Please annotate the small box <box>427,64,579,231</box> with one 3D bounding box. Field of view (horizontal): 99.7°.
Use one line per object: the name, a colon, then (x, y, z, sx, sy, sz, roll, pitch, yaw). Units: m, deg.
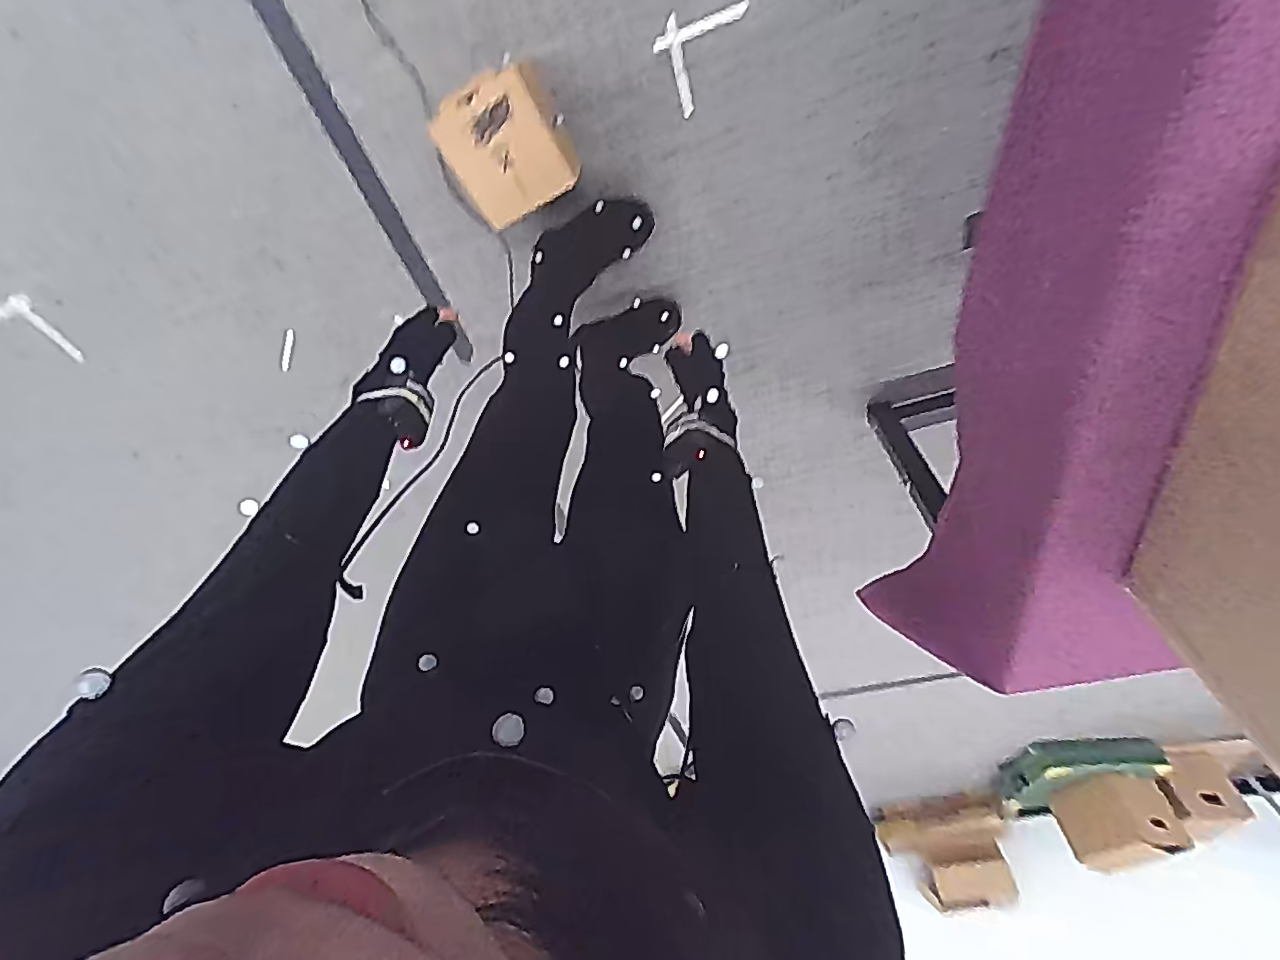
small box: (-0.216, -0.559, 0.904, 0.168, 0.176, 0.179, -21, 130, 16)
